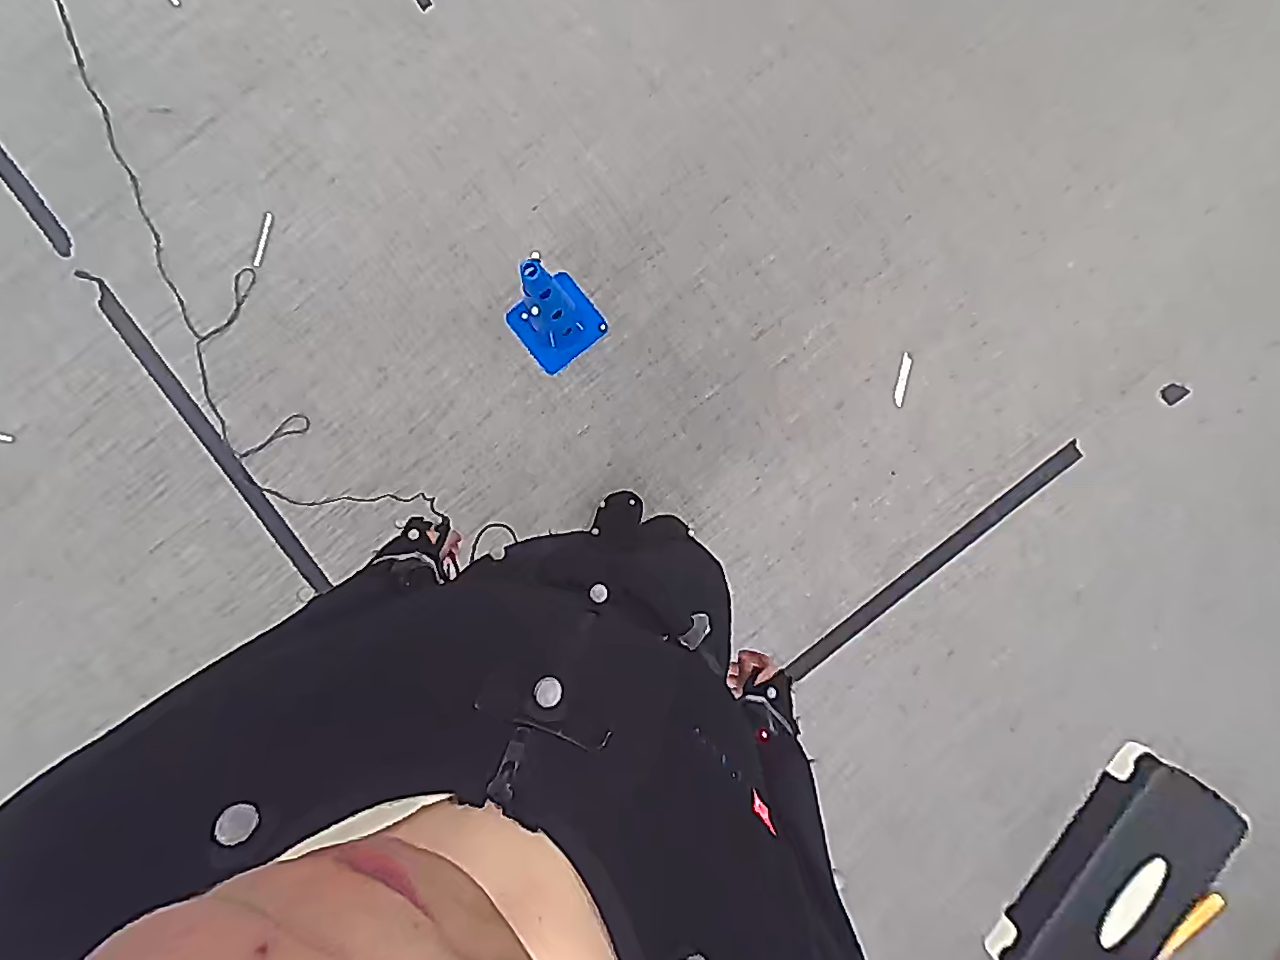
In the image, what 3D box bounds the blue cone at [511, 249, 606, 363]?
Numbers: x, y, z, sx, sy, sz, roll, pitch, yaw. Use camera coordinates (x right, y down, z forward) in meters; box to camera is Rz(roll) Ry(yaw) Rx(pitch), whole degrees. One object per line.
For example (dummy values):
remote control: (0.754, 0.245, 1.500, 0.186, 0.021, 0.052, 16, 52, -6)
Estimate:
blue cone: (-0.205, -0.411, 1.198, 0.192, 0.380, 0.193, -37, 90, -1)
